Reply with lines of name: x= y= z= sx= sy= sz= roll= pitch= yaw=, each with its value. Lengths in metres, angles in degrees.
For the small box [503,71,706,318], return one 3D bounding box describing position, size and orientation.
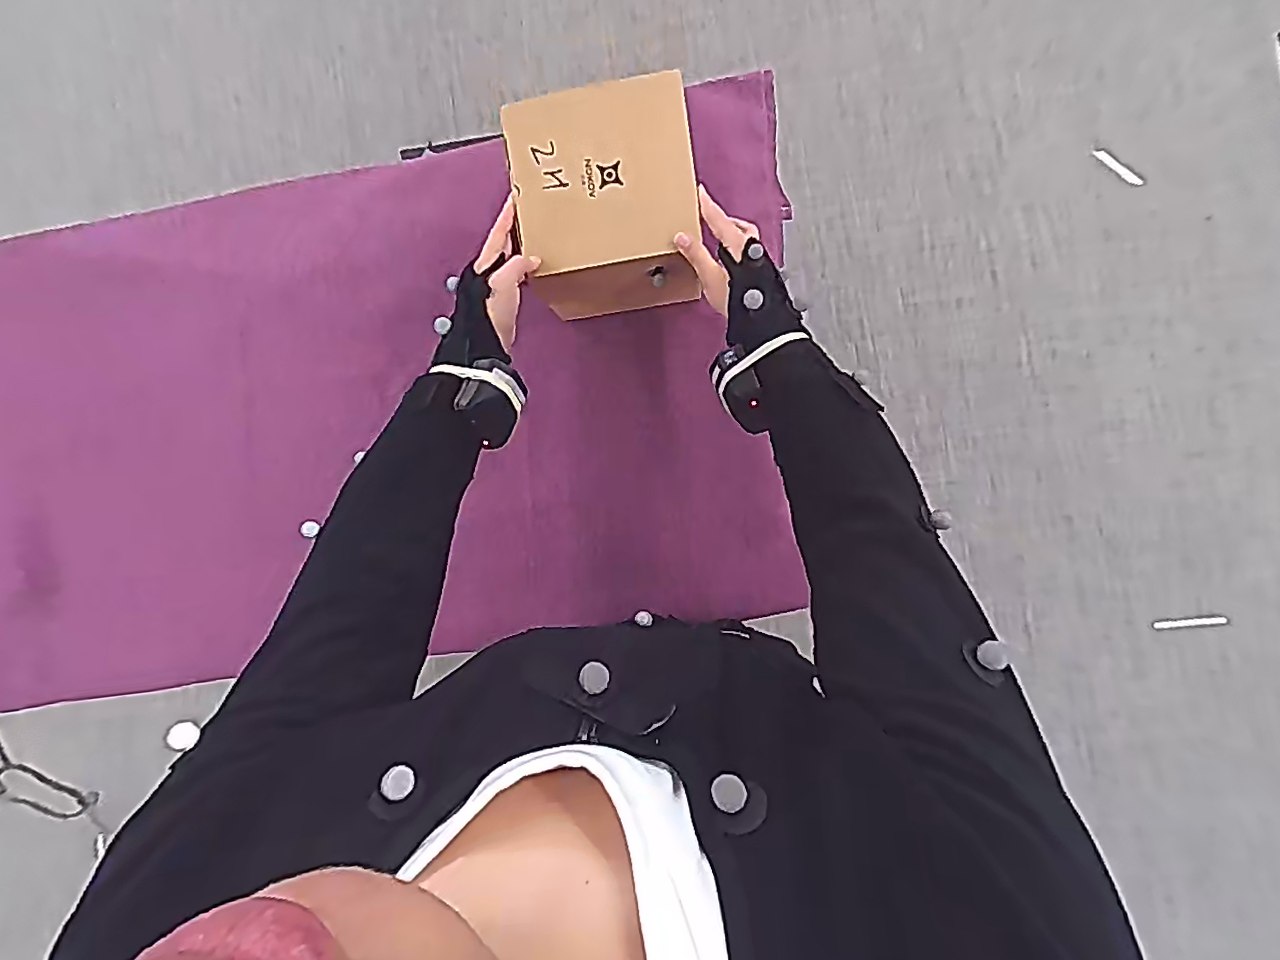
small box: x=-0.028 y=-0.287 z=0.584 sx=0.179 sy=0.176 sz=0.168 roll=-7 pitch=91 yaw=6
